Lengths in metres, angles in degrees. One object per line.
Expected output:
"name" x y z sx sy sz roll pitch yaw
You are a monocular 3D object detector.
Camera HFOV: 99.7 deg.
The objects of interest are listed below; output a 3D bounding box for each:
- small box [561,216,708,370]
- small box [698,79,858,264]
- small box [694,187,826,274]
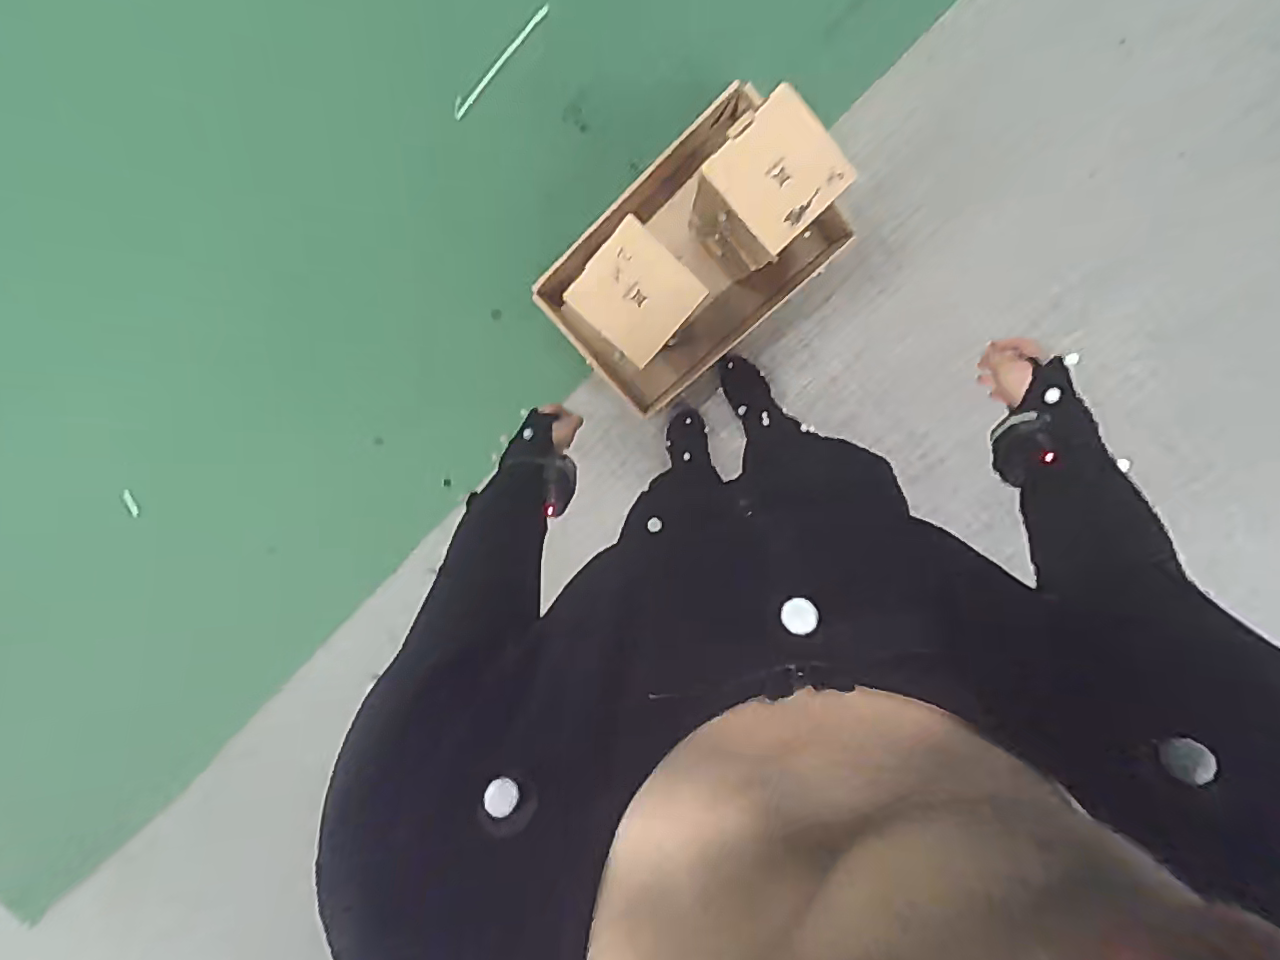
"small box" -0.007 -0.310 0.925 0.179 0.176 0.168 41 100 -8
"small box" 0.208 -0.478 0.874 0.168 0.176 0.179 -42 98 12
"small box" 0.217 -0.518 1.034 0.168 0.176 0.179 -40 101 12
